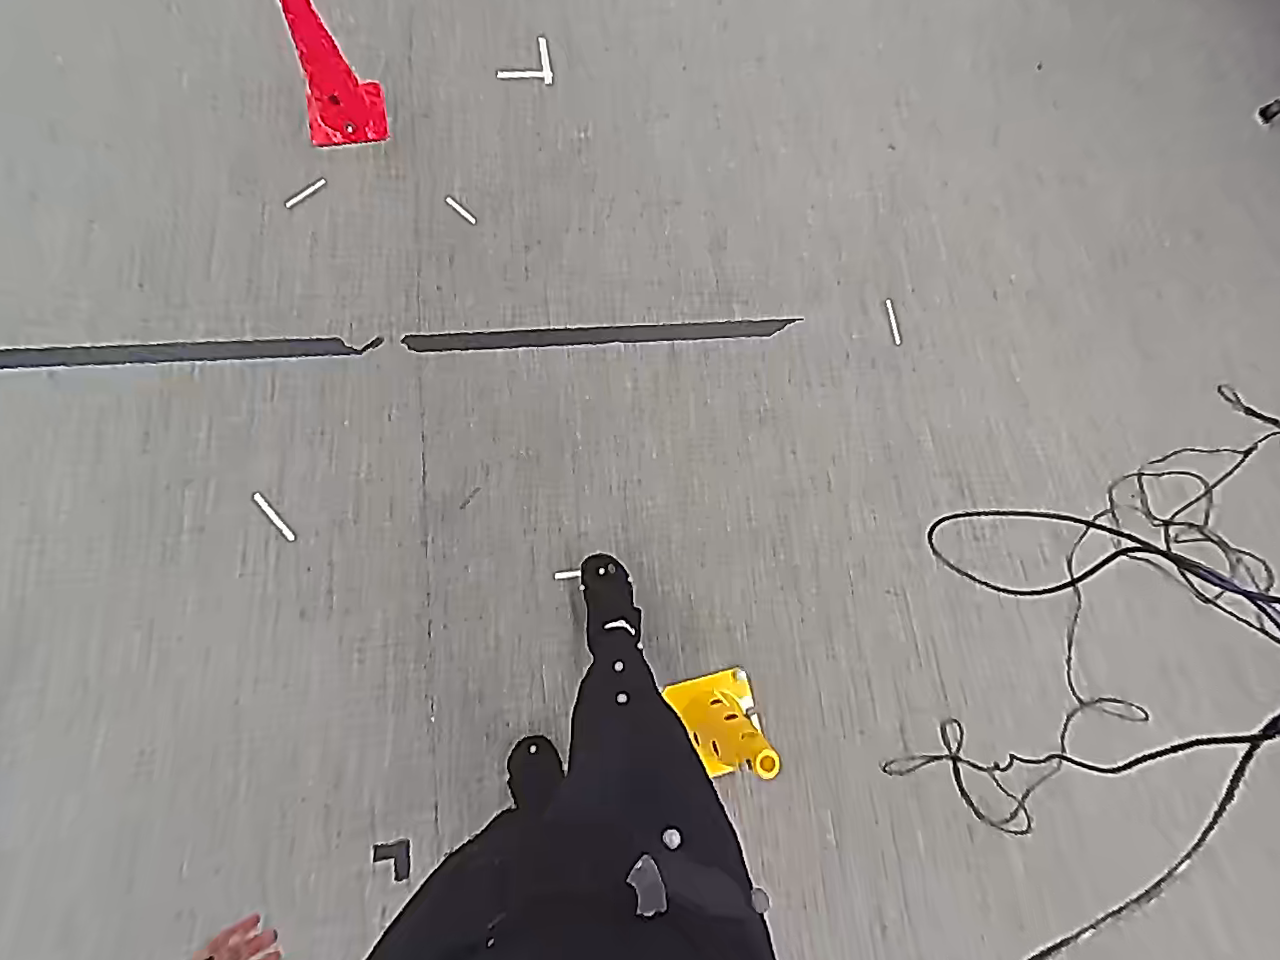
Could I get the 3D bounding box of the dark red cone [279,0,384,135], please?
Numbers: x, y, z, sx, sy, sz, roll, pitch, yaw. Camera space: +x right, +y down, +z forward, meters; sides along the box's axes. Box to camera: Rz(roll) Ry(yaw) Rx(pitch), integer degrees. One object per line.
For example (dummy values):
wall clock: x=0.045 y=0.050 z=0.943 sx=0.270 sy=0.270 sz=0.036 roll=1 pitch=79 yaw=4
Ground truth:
dark red cone: x=-0.783 y=-1.052 z=1.296 sx=0.202 sy=0.394 sz=0.201 roll=-12 pitch=78 yaw=-9
